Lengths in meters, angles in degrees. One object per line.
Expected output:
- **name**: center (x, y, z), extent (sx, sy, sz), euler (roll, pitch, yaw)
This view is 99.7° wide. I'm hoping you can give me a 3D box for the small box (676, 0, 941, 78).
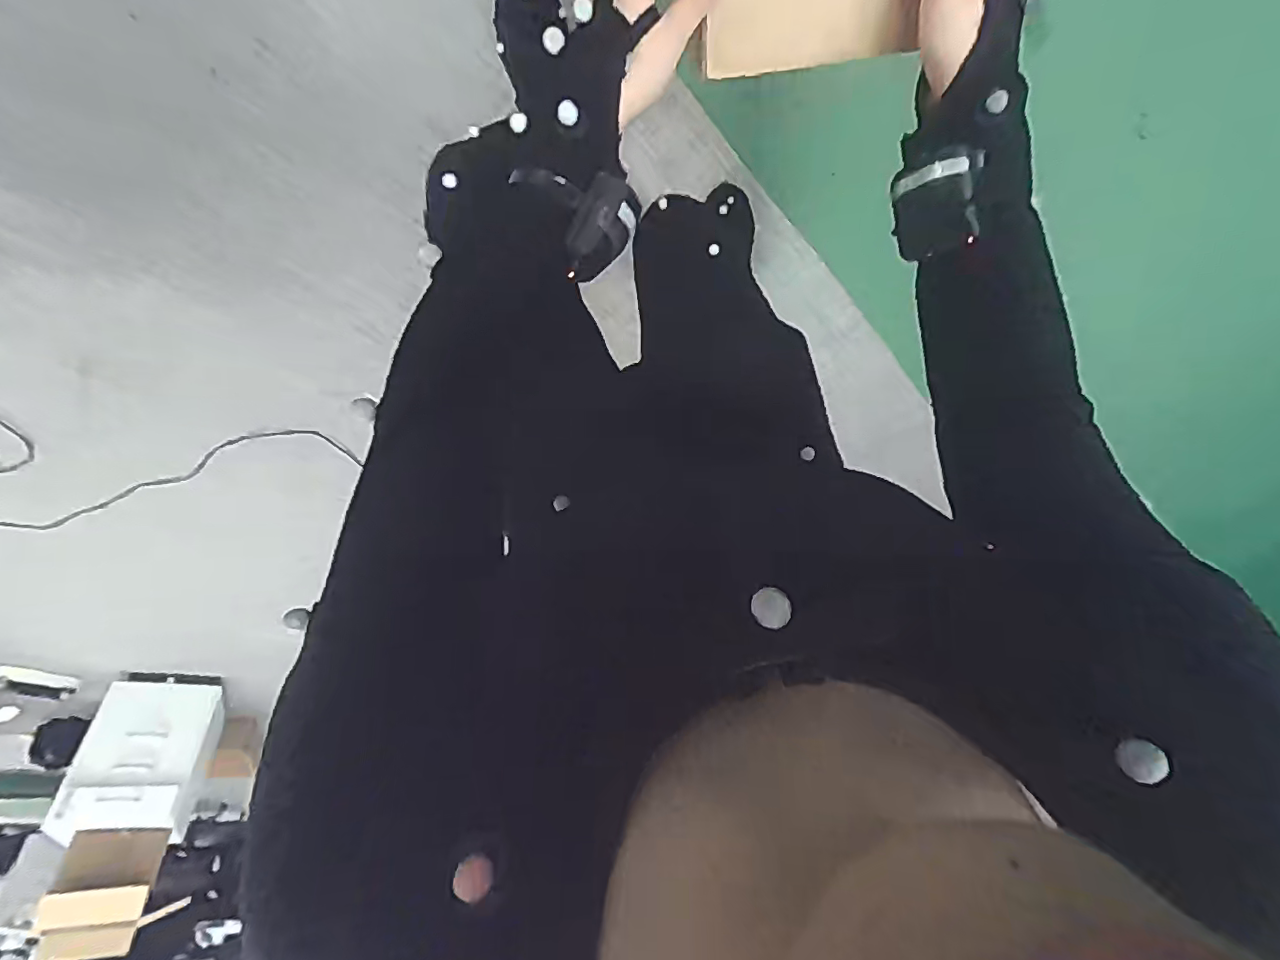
- **small box**: center (0.116, -0.426, 0.392), extent (0.179, 0.176, 0.168), euler (-8, 143, 2)
